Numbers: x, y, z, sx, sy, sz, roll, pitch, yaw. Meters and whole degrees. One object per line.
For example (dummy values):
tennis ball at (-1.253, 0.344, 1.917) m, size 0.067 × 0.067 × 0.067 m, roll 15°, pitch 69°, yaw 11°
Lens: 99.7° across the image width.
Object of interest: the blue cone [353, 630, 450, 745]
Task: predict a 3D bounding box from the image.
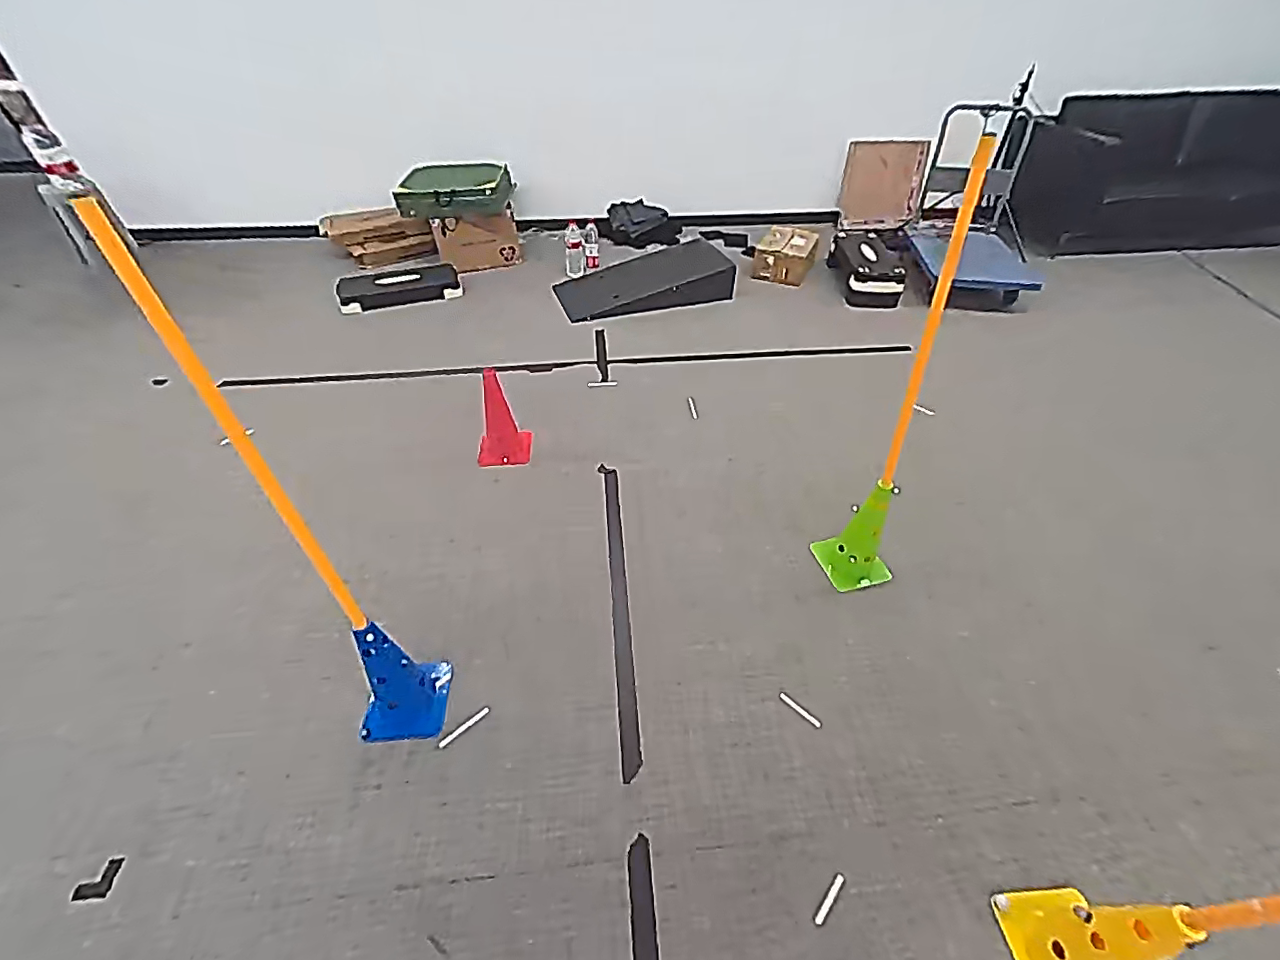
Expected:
blue cone at (-0.595, 0.465, 1.287) m, size 0.193 × 0.380 × 0.192 m, roll -2°, pitch 43°, yaw -2°

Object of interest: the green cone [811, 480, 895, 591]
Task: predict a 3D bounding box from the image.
green cone at (0.684, 0.139, 1.633) m, size 0.200 × 0.368 × 0.202 m, roll -11°, pitch 46°, yaw -12°
